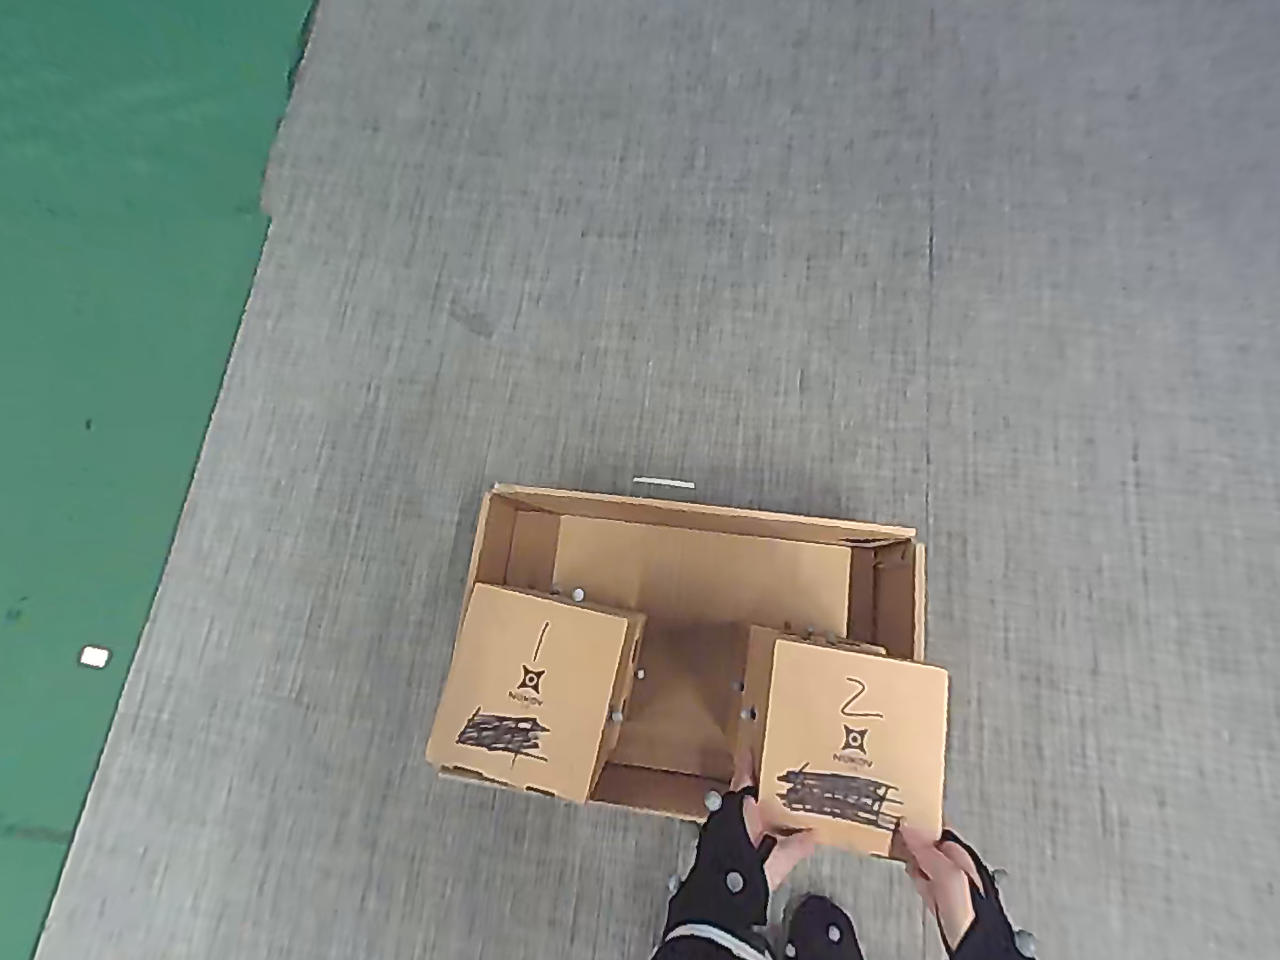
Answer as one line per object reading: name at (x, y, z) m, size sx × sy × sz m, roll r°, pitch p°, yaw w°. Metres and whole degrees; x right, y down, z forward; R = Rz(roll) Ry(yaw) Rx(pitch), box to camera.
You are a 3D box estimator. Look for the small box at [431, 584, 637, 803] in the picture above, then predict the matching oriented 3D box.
small box at (-0.102, 0.225, 0.613) m, size 0.168 × 0.176 × 0.179 m, roll 12°, pitch 77°, yaw 6°
